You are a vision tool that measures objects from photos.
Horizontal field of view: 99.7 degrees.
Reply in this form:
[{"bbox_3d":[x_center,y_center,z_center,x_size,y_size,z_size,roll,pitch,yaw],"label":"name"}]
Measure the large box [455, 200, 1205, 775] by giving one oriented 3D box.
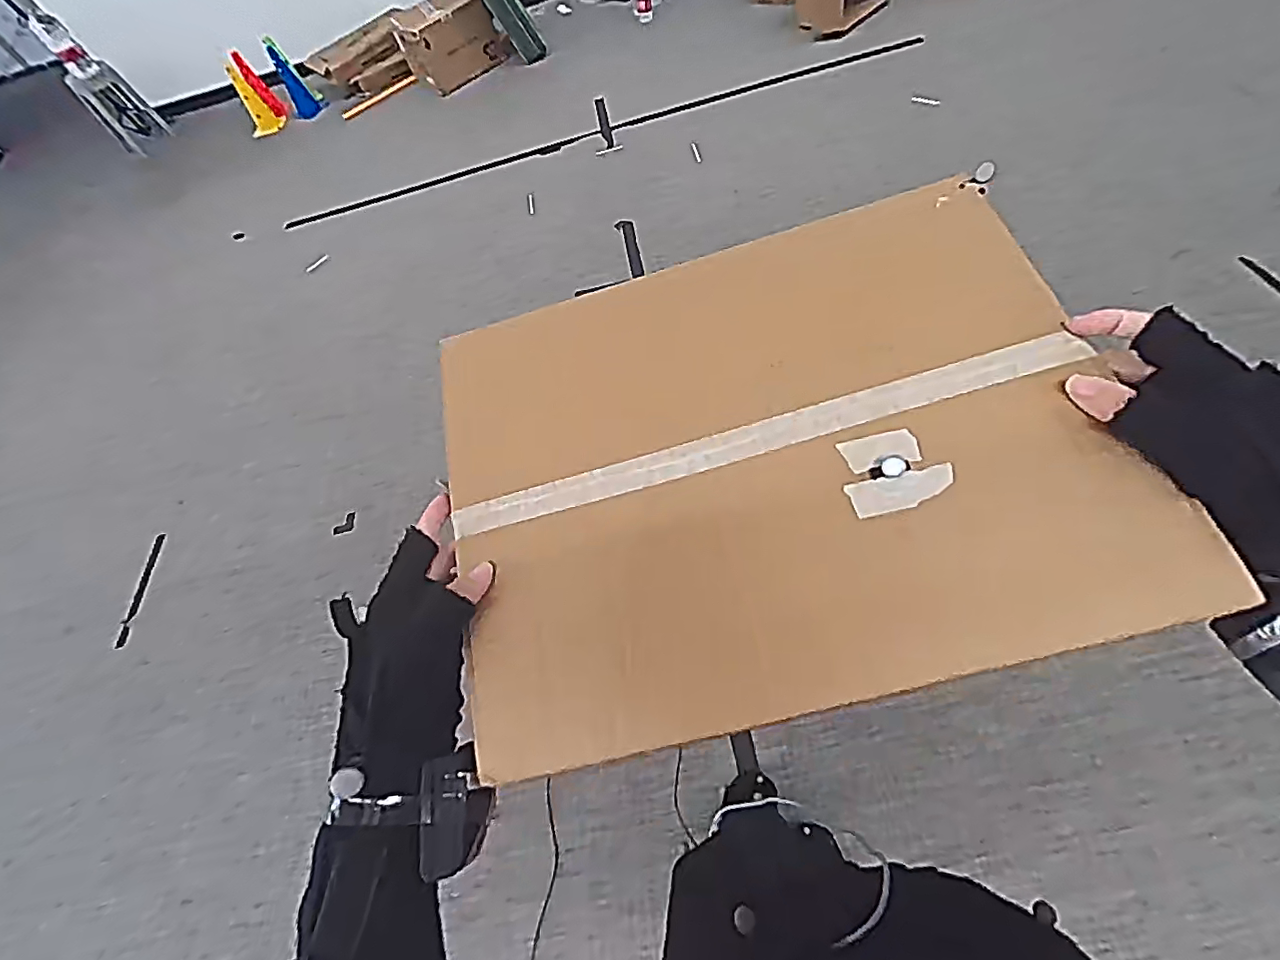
[{"bbox_3d":[0.100,0.036,0.491,0.408,0.320,0.320,-16,67,4],"label":"large box"}]
